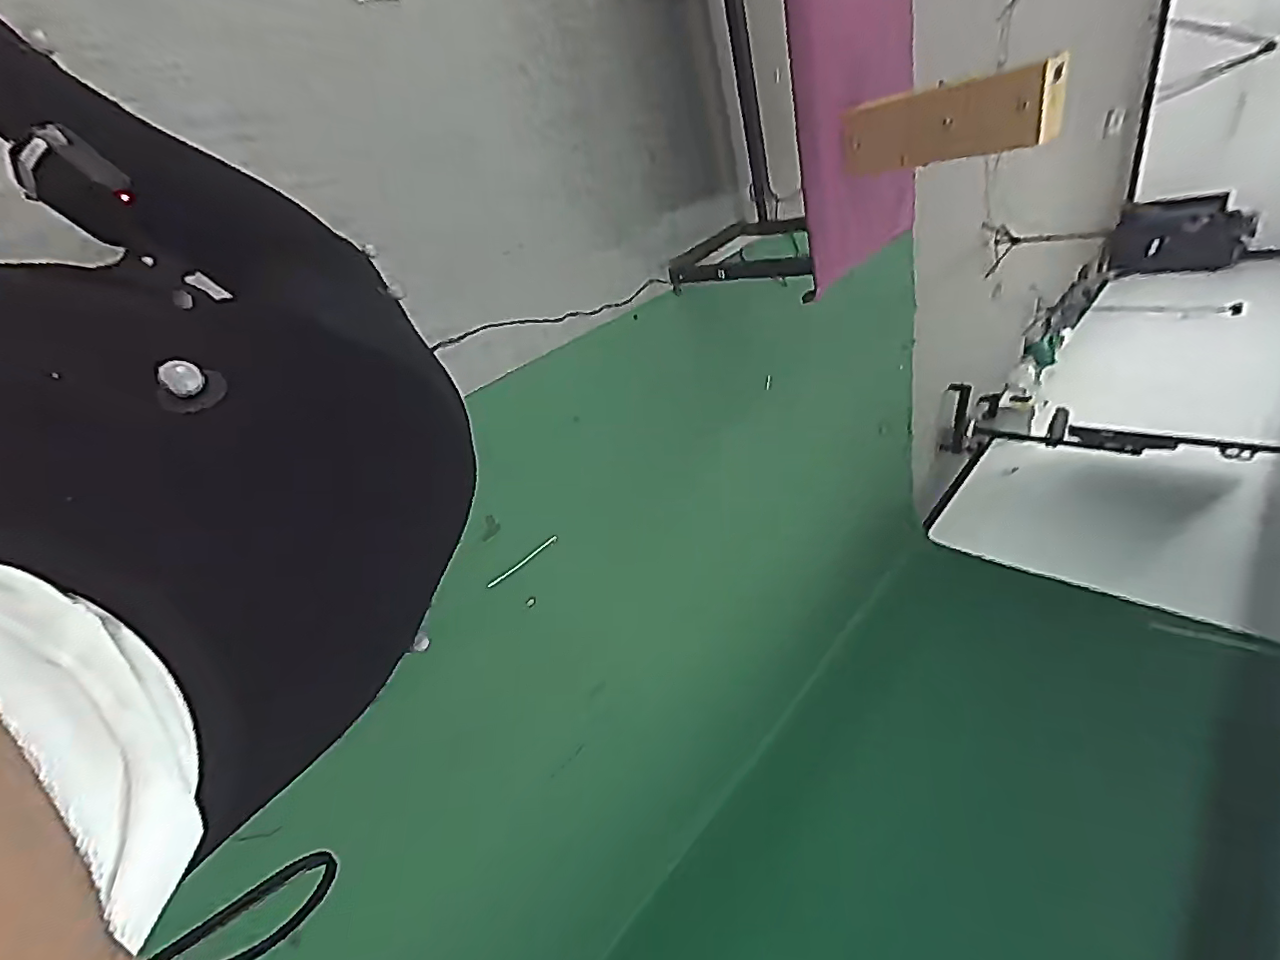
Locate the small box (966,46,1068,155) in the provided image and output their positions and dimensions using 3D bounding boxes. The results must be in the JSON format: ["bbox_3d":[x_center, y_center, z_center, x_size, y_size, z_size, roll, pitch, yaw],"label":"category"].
[{"bbox_3d":[0.937,-0.945,1.355,0.168,0.176,0.179,-38,127,-28],"label":"small box"}]

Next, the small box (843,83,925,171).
[{"bbox_3d":[0.712,-1.022,1.580,0.168,0.176,0.179,-40,128,-29],"label":"small box"}]

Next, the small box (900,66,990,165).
[{"bbox_3d":[0.824,-0.984,1.467,0.168,0.176,0.179,-38,127,-29],"label":"small box"}]
